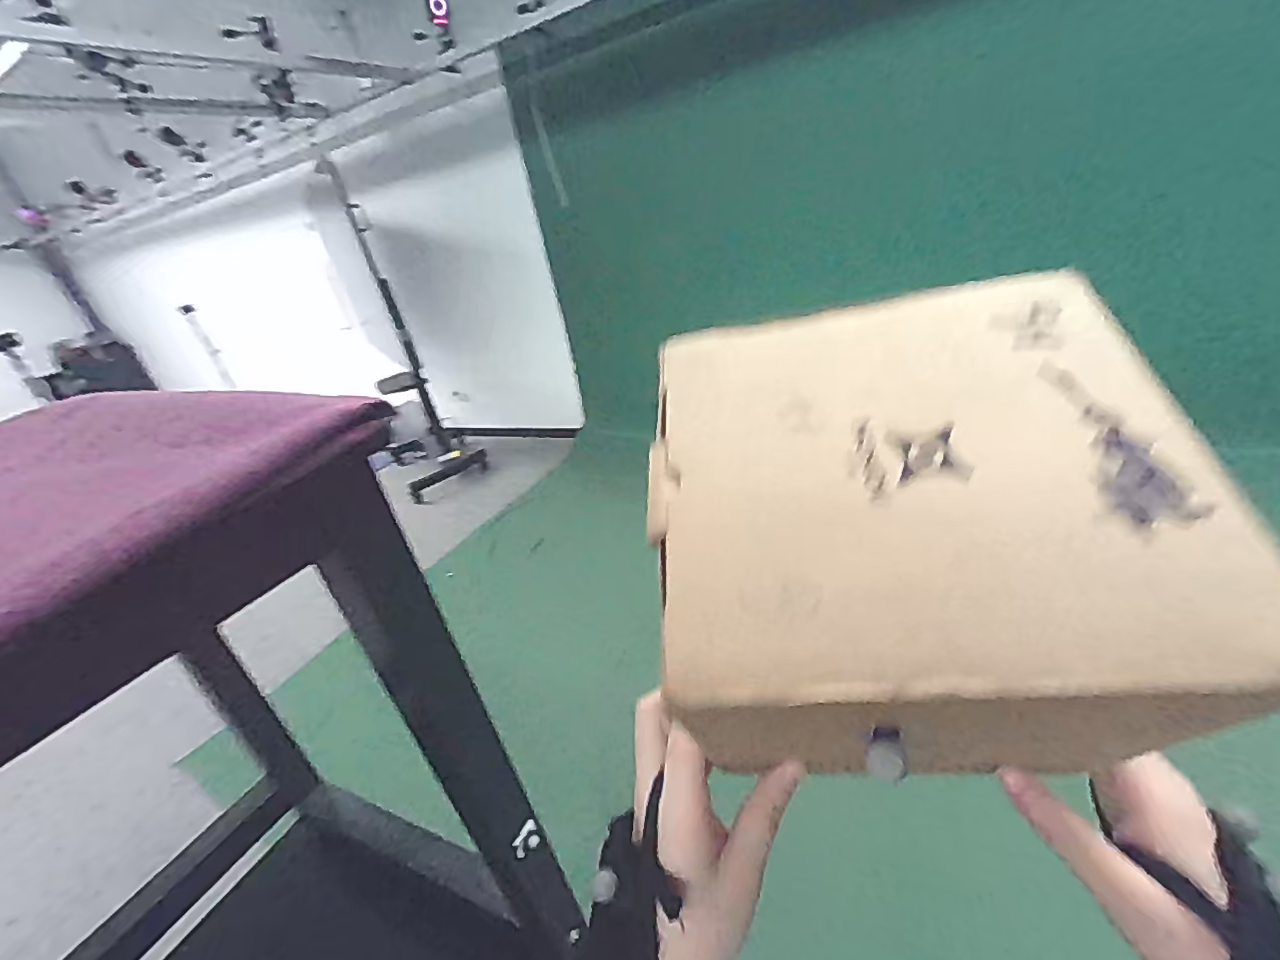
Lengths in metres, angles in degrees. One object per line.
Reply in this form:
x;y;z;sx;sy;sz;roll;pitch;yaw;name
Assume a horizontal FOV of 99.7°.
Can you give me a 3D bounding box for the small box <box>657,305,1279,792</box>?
0.113;0.049;0.262;0.179;0.176;0.168;-7;55;13;small box
